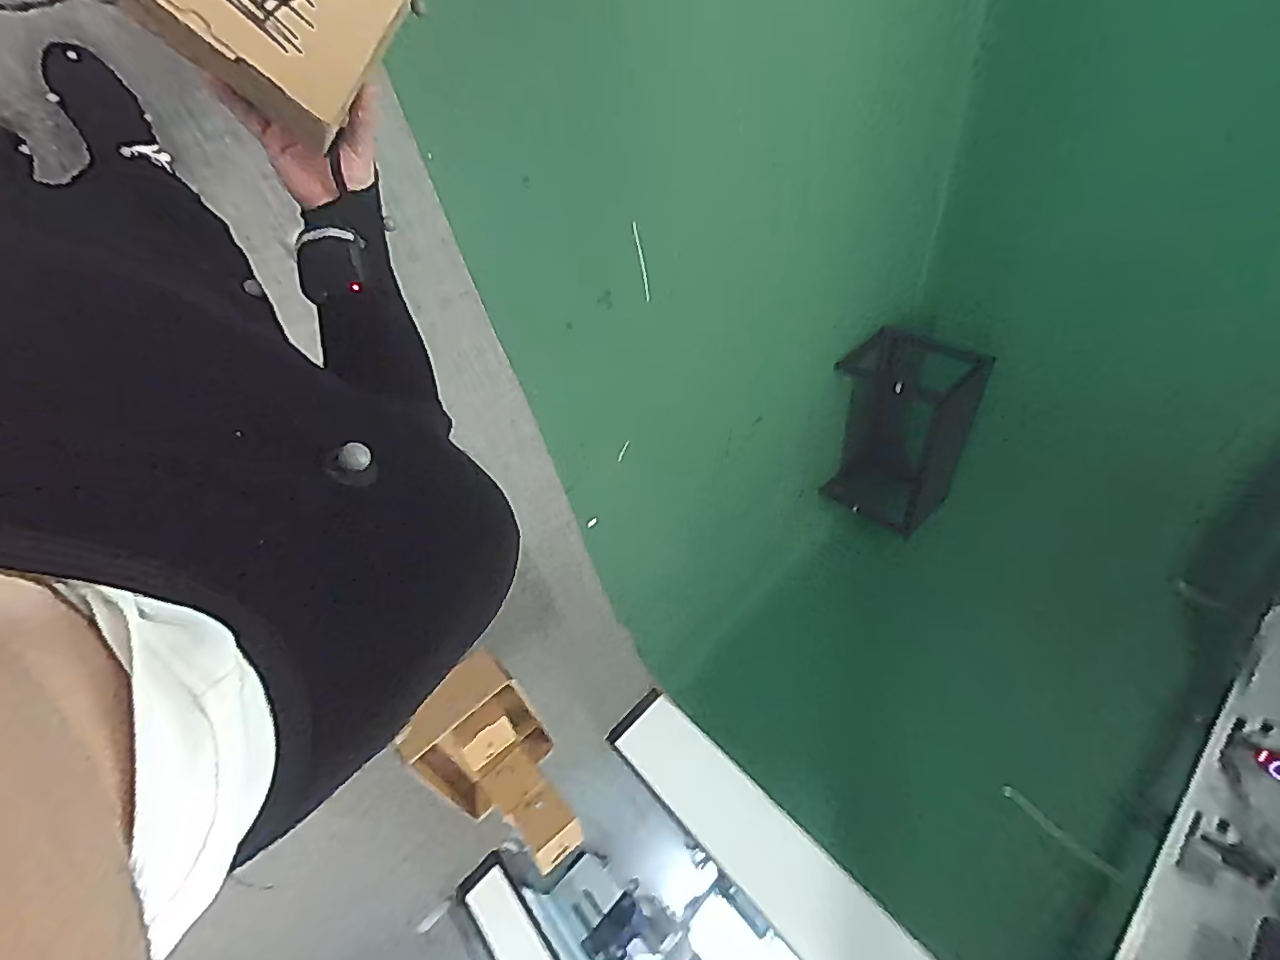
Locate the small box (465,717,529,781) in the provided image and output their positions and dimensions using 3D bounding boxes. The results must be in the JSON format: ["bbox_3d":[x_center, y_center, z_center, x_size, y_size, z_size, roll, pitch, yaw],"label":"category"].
[{"bbox_3d":[-0.519,1.025,2.016,0.168,0.176,0.179,-38,137,-24],"label":"small box"}]

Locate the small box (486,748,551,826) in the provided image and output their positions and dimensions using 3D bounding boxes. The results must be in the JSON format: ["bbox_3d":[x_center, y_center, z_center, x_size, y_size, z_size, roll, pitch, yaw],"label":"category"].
[{"bbox_3d":[-0.412,1.091,1.914,0.168,0.176,0.179,-37,137,-23],"label":"small box"}]

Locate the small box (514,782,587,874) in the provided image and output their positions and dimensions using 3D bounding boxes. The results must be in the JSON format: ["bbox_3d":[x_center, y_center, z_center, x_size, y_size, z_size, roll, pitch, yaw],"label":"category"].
[{"bbox_3d":[-0.300,1.161,1.816,0.168,0.176,0.179,-30,133,-30],"label":"small box"}]
